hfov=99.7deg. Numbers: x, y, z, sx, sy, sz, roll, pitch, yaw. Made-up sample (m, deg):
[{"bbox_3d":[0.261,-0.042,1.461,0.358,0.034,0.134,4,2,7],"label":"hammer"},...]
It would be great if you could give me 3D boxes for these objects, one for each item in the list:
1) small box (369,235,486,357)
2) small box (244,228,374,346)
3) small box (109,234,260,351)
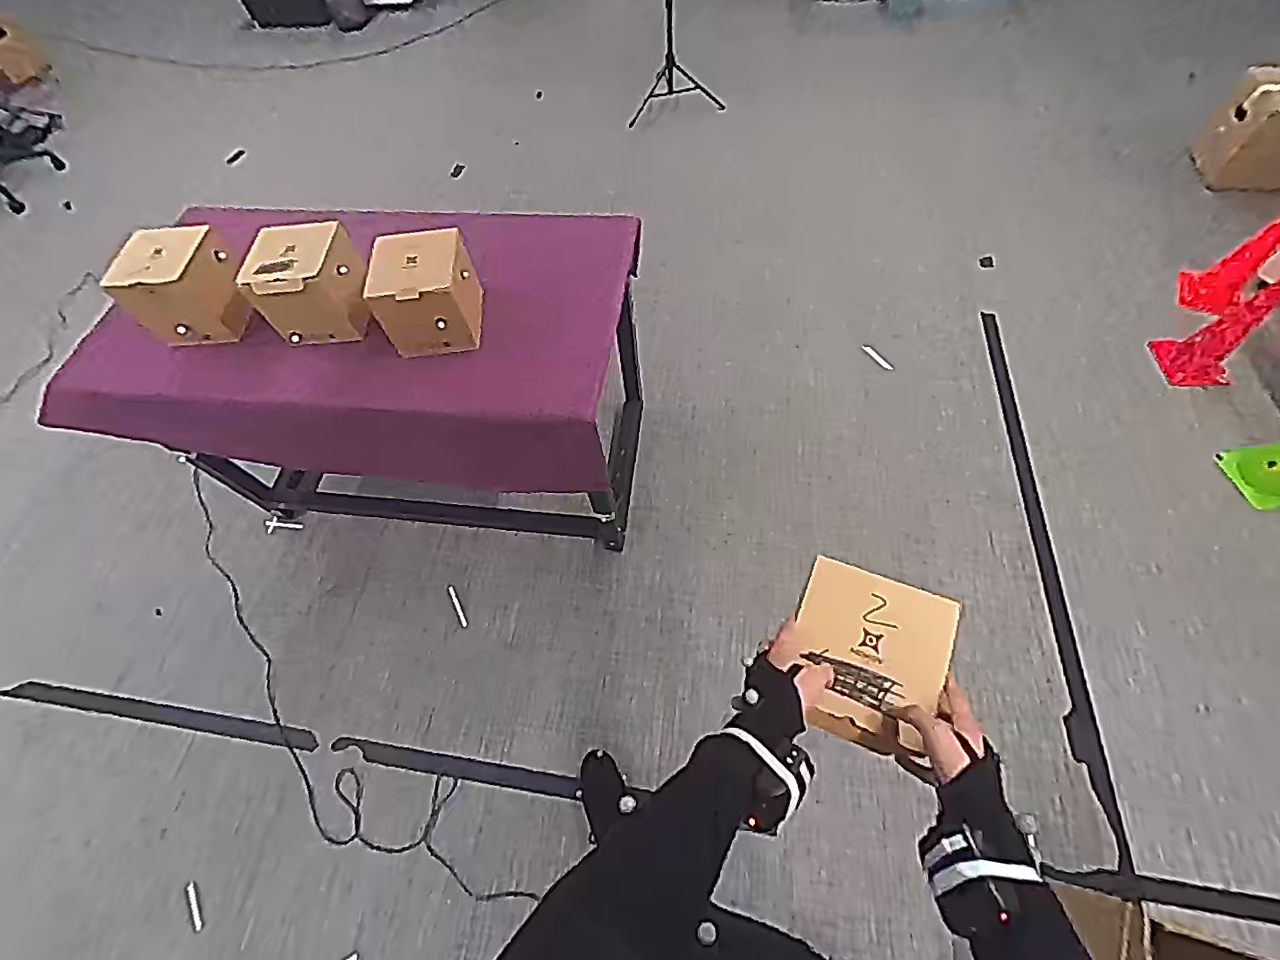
[{"bbox_3d":[-0.427,-0.369,1.115,0.168,0.176,0.179,-6,60,1],"label":"small box"},{"bbox_3d":[-0.685,-0.401,1.152,0.168,0.176,0.179,-4,60,2],"label":"small box"},{"bbox_3d":[-0.967,-0.404,1.176,0.168,0.176,0.179,-3,61,3],"label":"small box"}]
